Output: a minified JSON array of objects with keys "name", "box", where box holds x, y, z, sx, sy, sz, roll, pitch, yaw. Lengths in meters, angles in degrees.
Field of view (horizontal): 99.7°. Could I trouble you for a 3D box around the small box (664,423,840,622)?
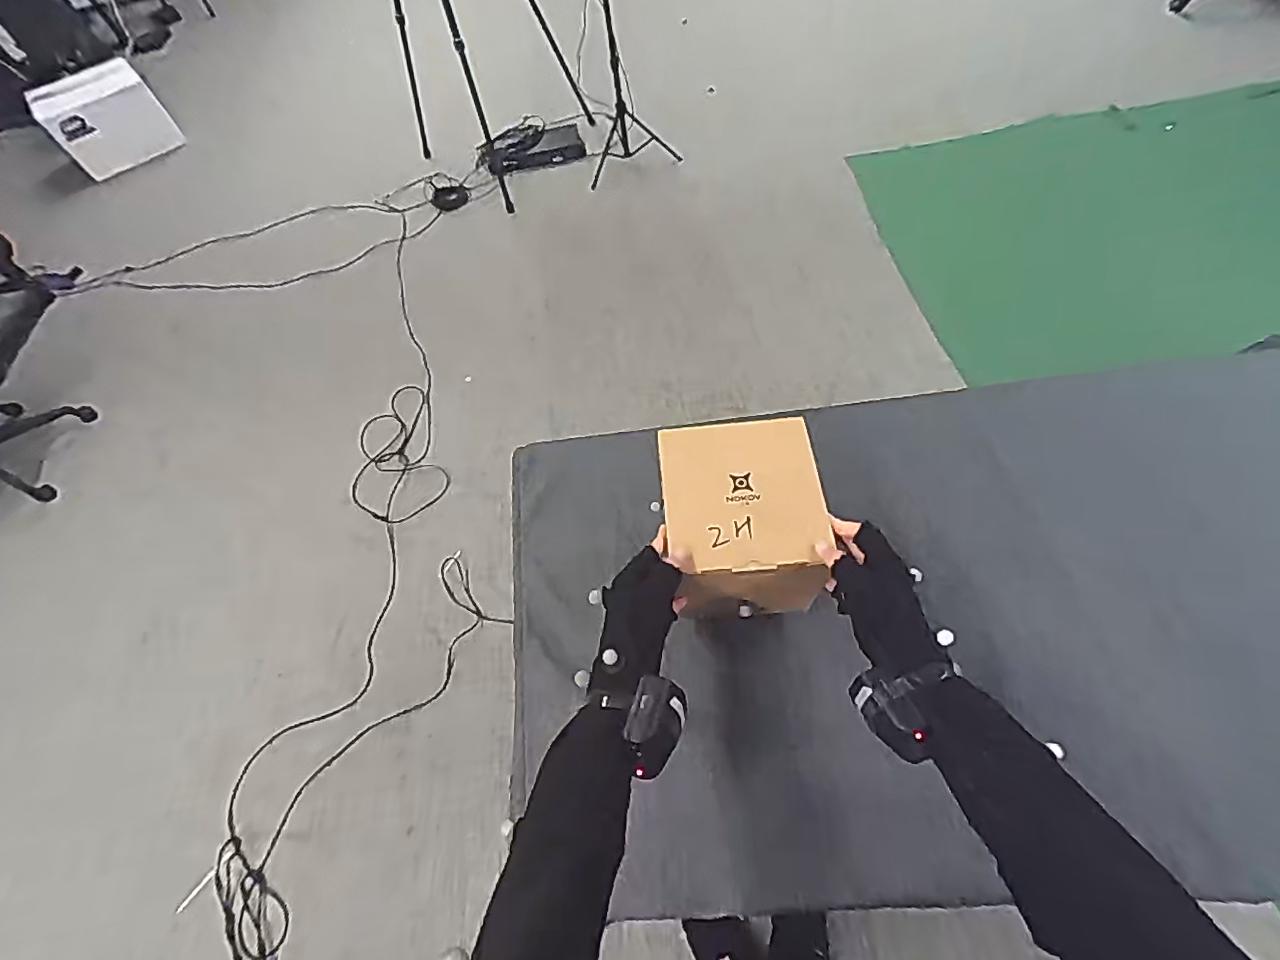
[{"name":"small box","box":[0.117,0.056,0.641,0.168,0.176,0.179,-6,61,3]}]
